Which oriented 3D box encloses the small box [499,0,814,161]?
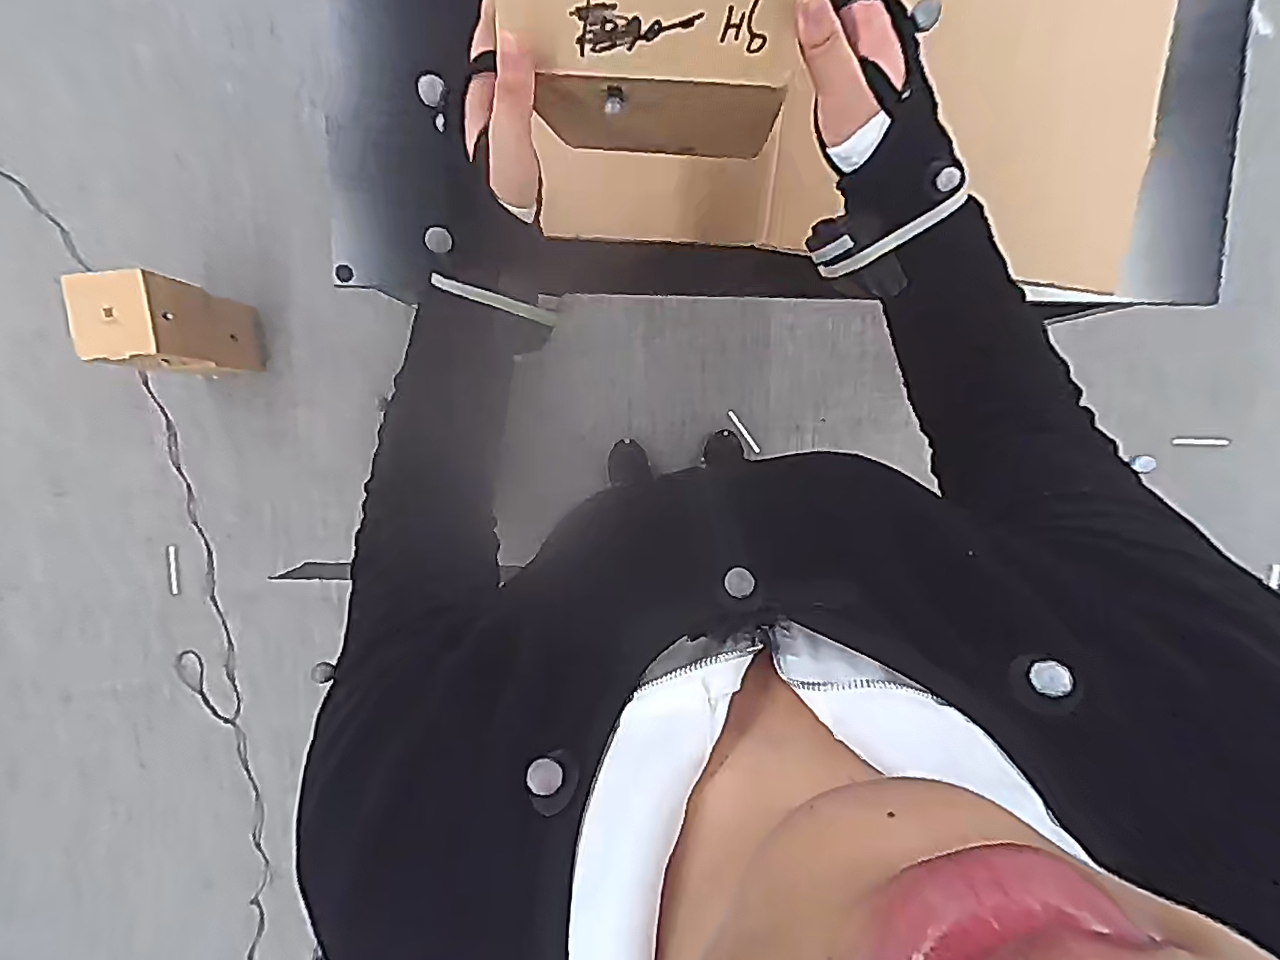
[{"bbox_3d":[0.019,-0.325,0.339,0.168,0.176,0.179,6,109,4],"label":"small box"}]

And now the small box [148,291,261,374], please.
[{"bbox_3d":[-1.092,-0.363,1.354,0.168,0.176,0.179,-3,97,0],"label":"small box"}]

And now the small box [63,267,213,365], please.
[{"bbox_3d":[-1.091,-0.351,1.191,0.168,0.176,0.179,-6,96,-1],"label":"small box"}]
